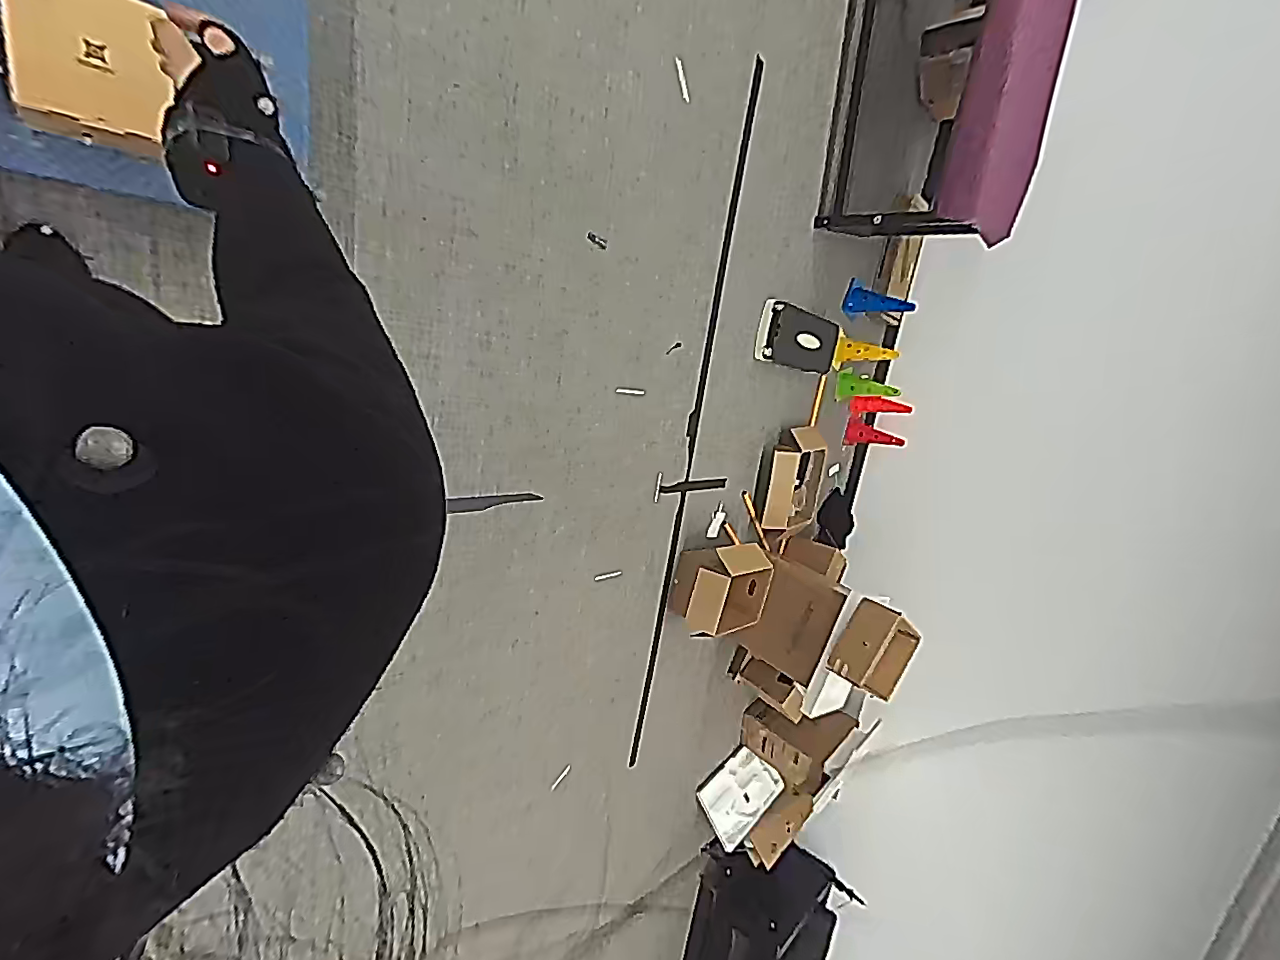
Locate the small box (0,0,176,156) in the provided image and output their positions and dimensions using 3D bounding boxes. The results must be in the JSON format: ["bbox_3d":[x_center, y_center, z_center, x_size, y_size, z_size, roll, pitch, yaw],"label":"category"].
[{"bbox_3d":[-0.797,-0.598,0.783,0.168,0.176,0.179,-7,111,-46],"label":"small box"}]
